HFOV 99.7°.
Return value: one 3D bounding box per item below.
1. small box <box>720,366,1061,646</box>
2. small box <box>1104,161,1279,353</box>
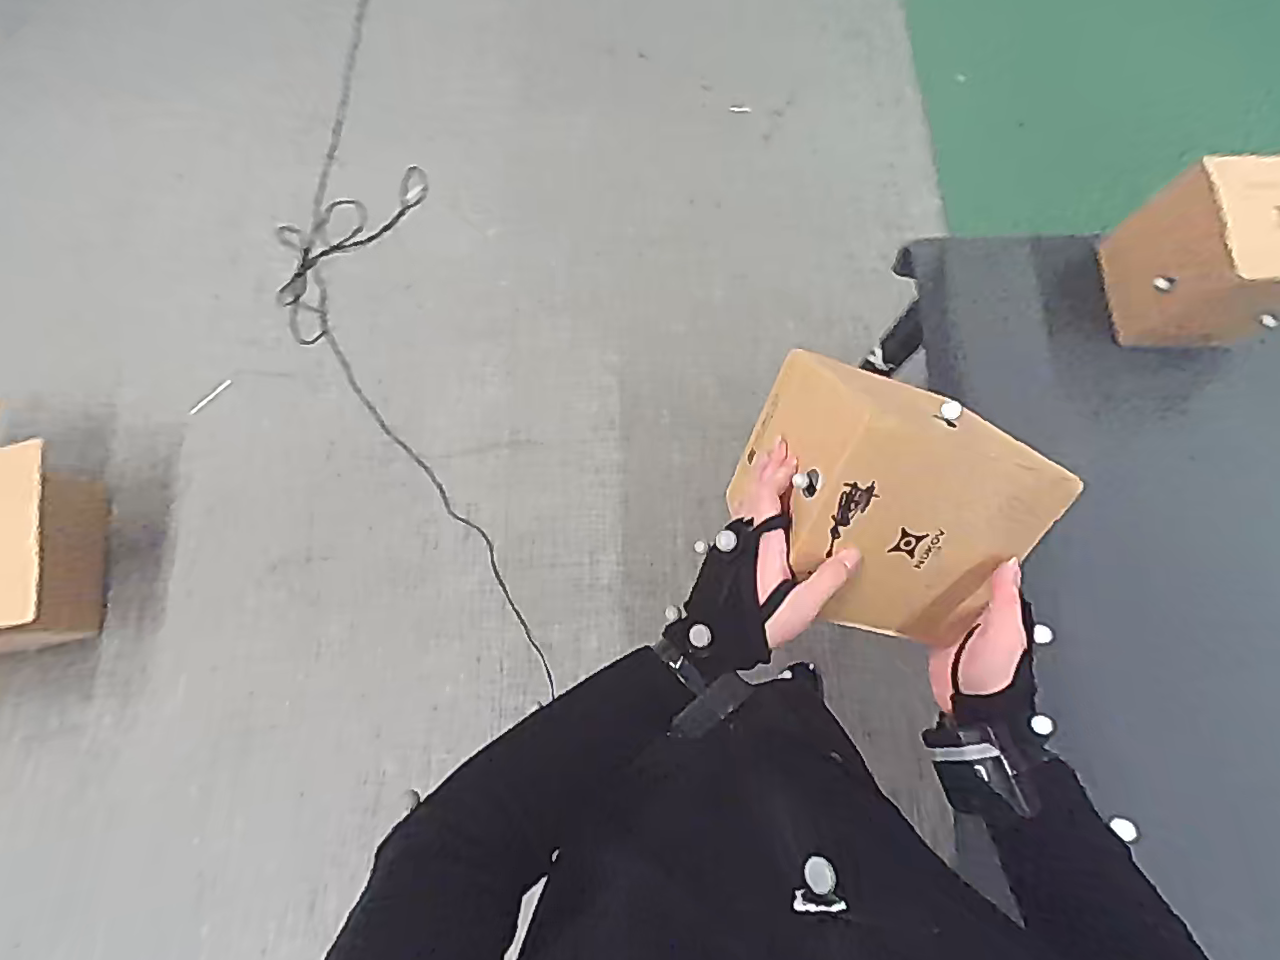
[{"bbox_3d":[0.191,0.014,0.473,0.179,0.176,0.168,13,116,-12],"label":"small box"},{"bbox_3d":[0.781,-0.287,0.727,0.168,0.176,0.179,3,76,-1],"label":"small box"}]
